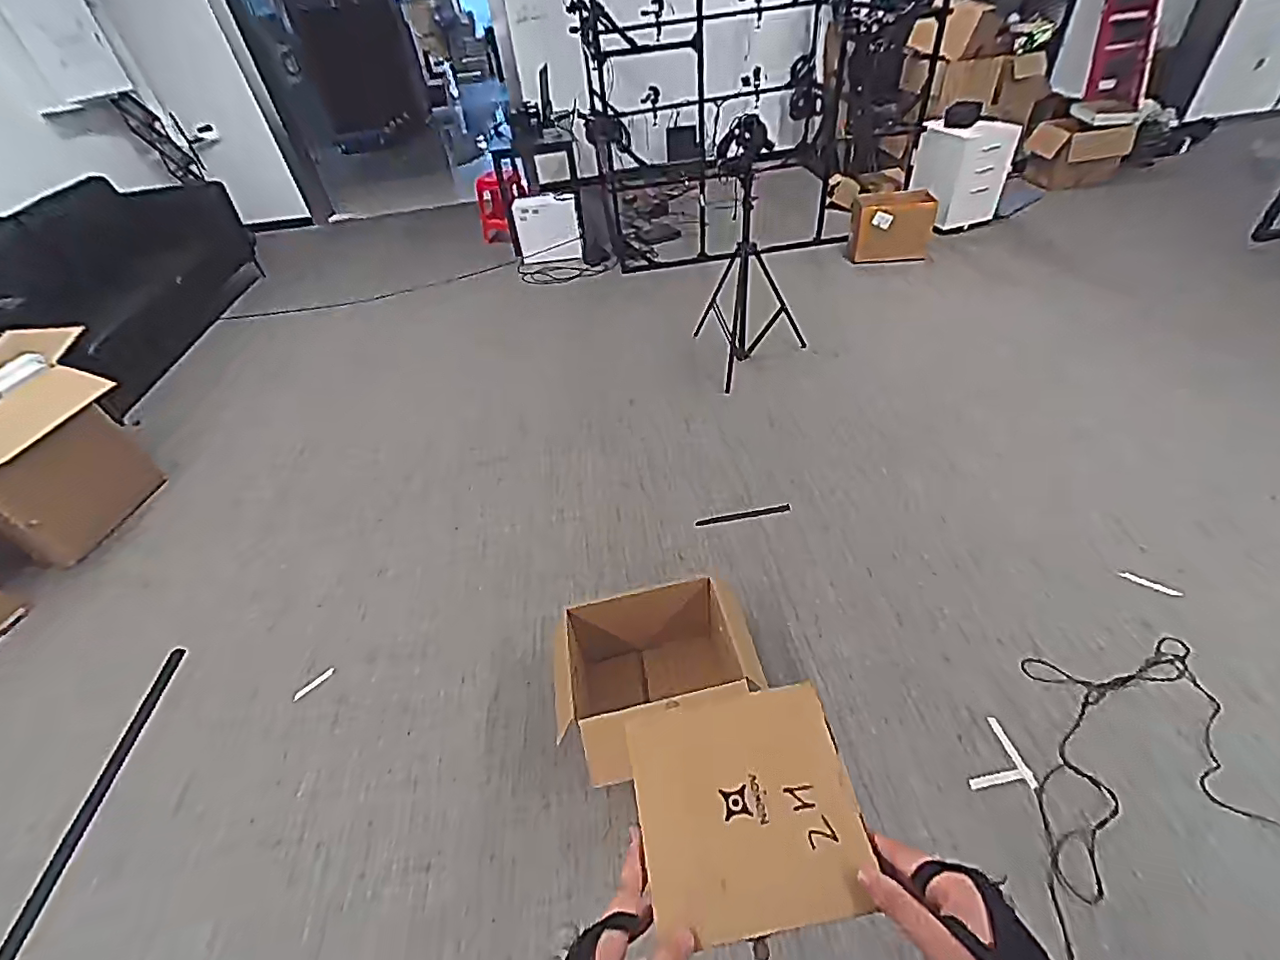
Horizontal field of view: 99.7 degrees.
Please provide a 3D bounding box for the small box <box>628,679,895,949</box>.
[{"bbox_3d":[0.092,0.303,0.493,0.179,0.176,0.168,-9,52,-3],"label":"small box"}]
